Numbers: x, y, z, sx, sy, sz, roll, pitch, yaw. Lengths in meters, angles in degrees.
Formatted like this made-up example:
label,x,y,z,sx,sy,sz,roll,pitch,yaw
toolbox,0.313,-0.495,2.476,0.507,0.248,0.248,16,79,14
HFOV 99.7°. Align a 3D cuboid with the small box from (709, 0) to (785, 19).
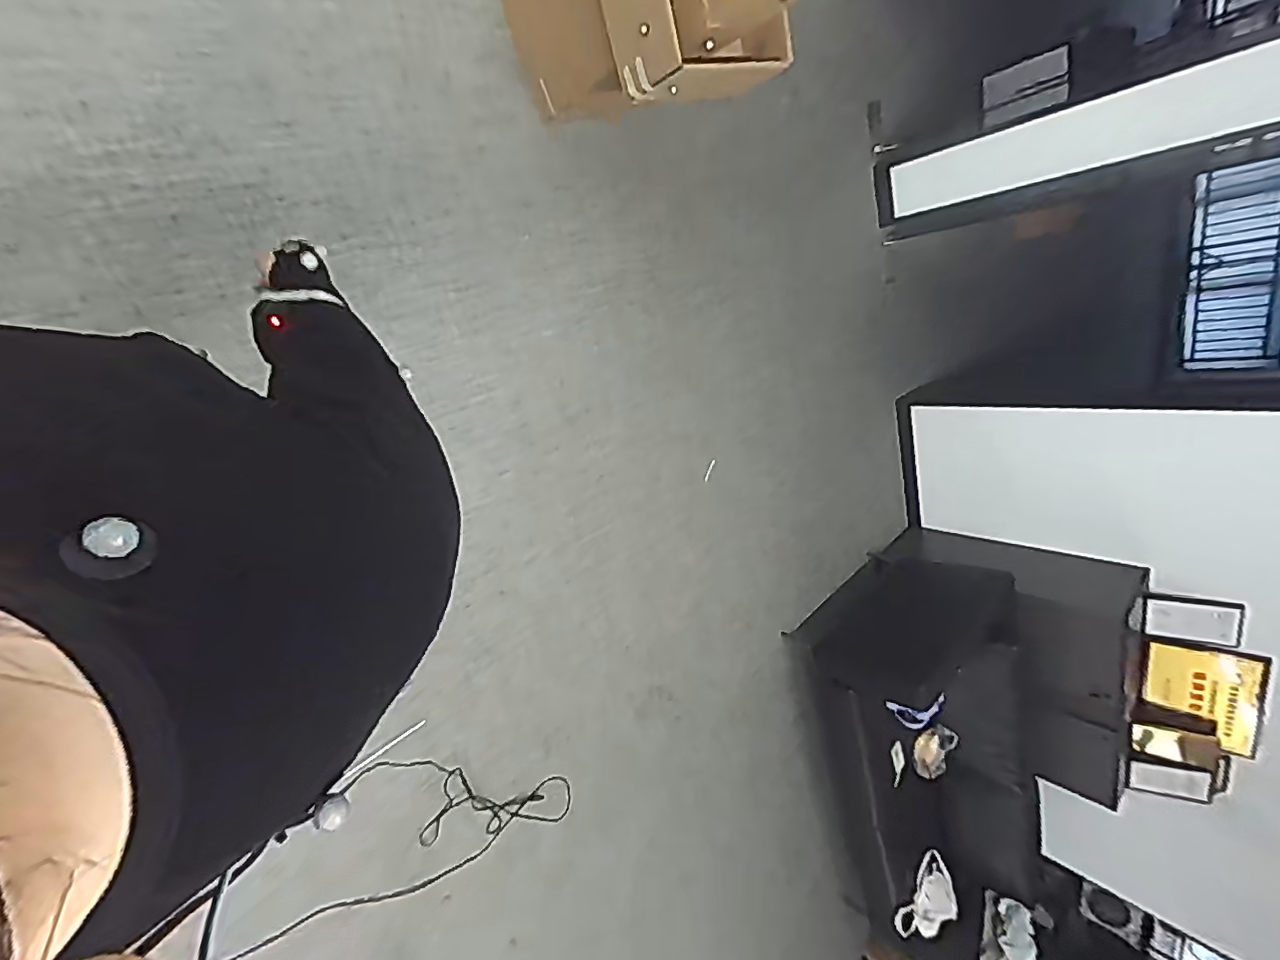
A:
label,x,y,z,sx,sy,sz,roll,pitch,yaw
small box,0.233,-1.031,1.045,0.179,0.176,0.168,-32,117,-31
